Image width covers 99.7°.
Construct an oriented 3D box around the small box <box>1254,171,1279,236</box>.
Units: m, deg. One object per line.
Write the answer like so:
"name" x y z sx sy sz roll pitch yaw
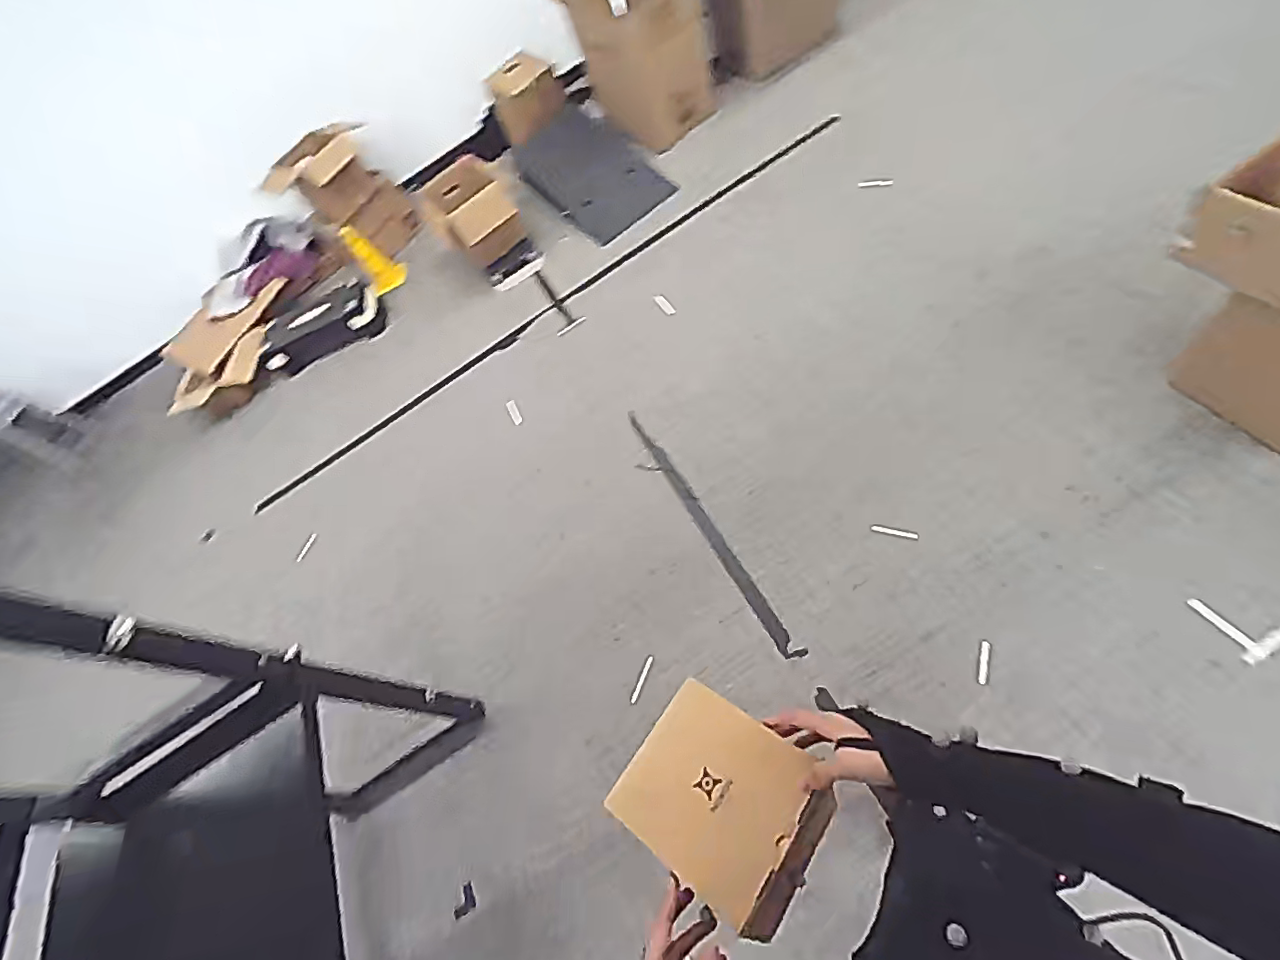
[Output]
"small box" 1.456 -0.609 1.119 0.179 0.176 0.168 -34 54 -1
